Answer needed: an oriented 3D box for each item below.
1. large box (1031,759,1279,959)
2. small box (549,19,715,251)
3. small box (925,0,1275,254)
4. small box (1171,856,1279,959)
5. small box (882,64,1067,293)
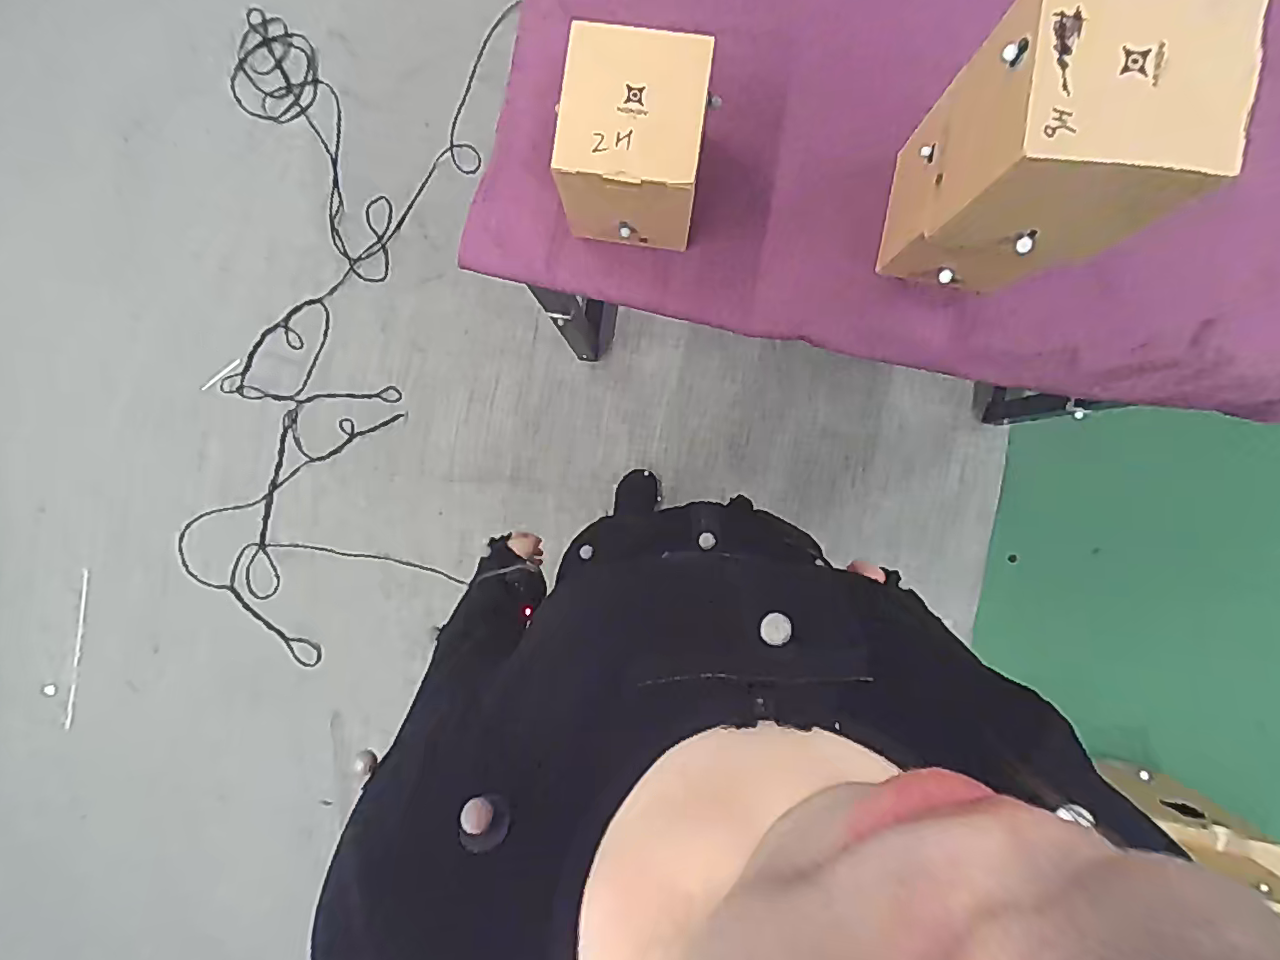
[{"bbox_3d":[1.229,0.966,1.305,0.320,0.320,0.408,11,92,3],"label":"large box"},{"bbox_3d":[-0.007,-0.419,0.682,0.168,0.176,0.179,8,90,2],"label":"small box"},{"bbox_3d":[0.404,-0.329,0.506,0.179,0.176,0.168,8,91,2],"label":"small box"},{"bbox_3d":[1.222,0.886,1.061,0.179,0.176,0.168,13,92,3],"label":"small box"},{"bbox_3d":[0.423,-0.356,0.669,0.168,0.176,0.179,11,91,2],"label":"small box"}]
